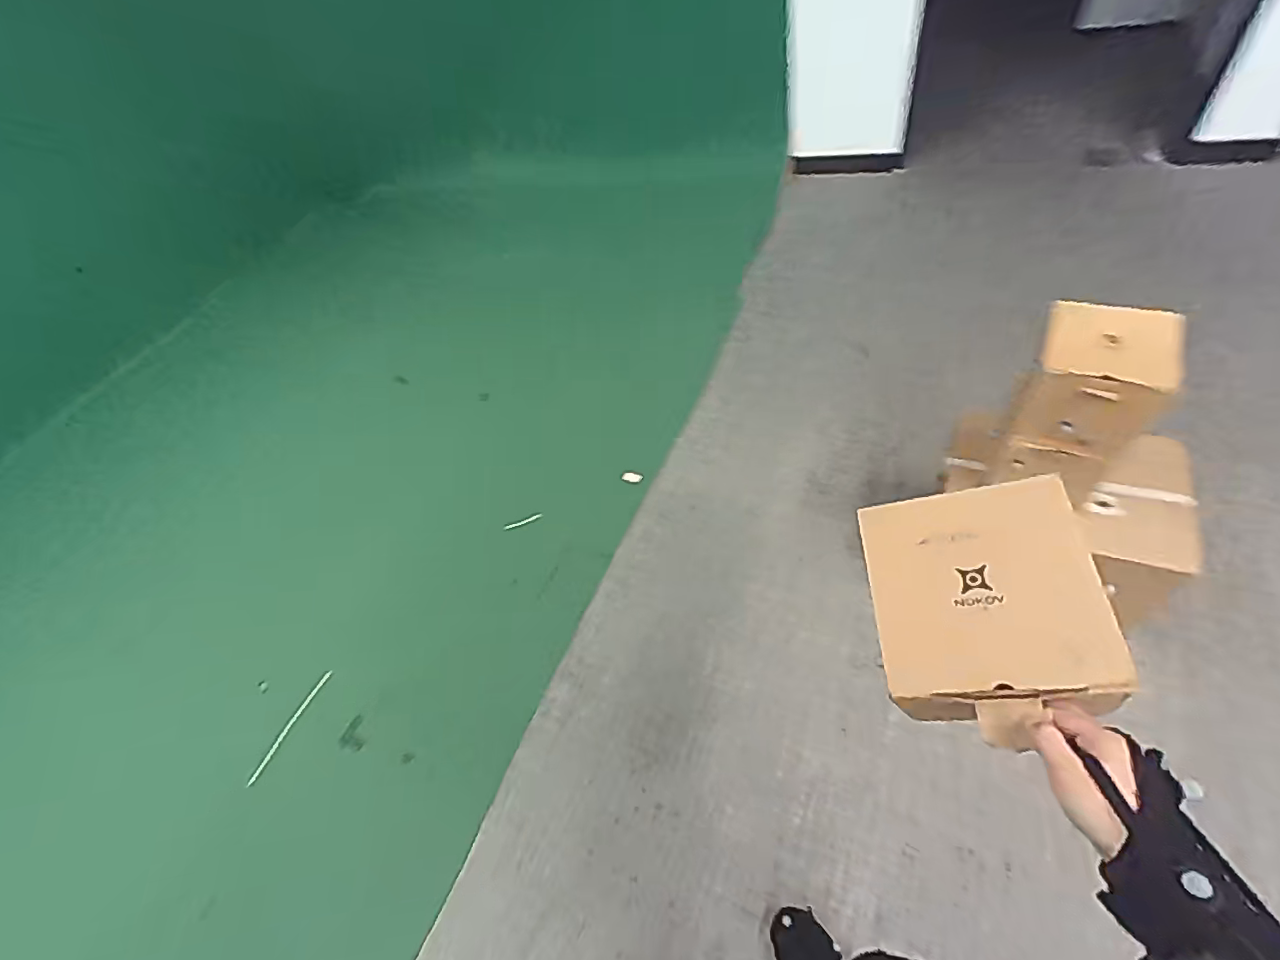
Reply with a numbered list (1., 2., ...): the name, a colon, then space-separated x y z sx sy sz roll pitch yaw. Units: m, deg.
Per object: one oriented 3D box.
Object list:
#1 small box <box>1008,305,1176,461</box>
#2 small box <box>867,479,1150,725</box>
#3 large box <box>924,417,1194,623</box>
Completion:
1. small box: 0.747 -0.162 0.908 0.168 0.176 0.179 18 61 26
2. small box: 0.325 0.126 0.504 0.168 0.176 0.179 -13 55 27
3. large box: 0.868 0.098 1.200 0.408 0.320 0.320 13 60 22
